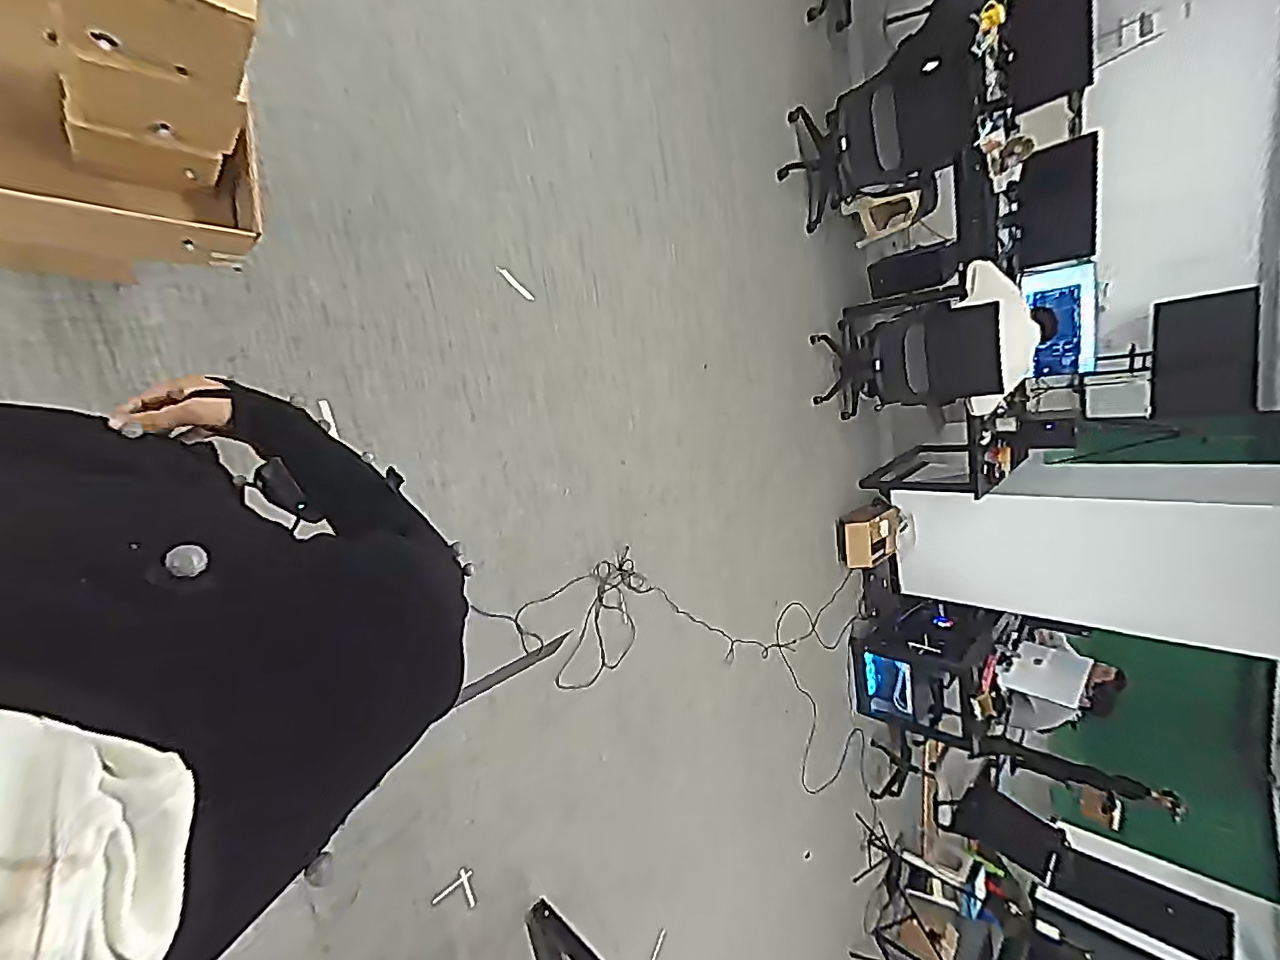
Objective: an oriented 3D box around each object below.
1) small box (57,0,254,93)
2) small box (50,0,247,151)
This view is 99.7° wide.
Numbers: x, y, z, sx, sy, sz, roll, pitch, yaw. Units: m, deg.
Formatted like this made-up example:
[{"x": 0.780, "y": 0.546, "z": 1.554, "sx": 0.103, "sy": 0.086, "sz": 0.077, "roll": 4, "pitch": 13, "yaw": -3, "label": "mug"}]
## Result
[{"x": -0.559, "y": -0.597, "z": 0.620, "sx": 0.168, "sy": 0.176, "sz": 0.179, "roll": -6, "pitch": 94, "yaw": -44, "label": "small box"}, {"x": -0.672, "y": -0.584, "z": 0.740, "sx": 0.179, "sy": 0.176, "sz": 0.168, "roll": -11, "pitch": 98, "yaw": -44, "label": "small box"}]
